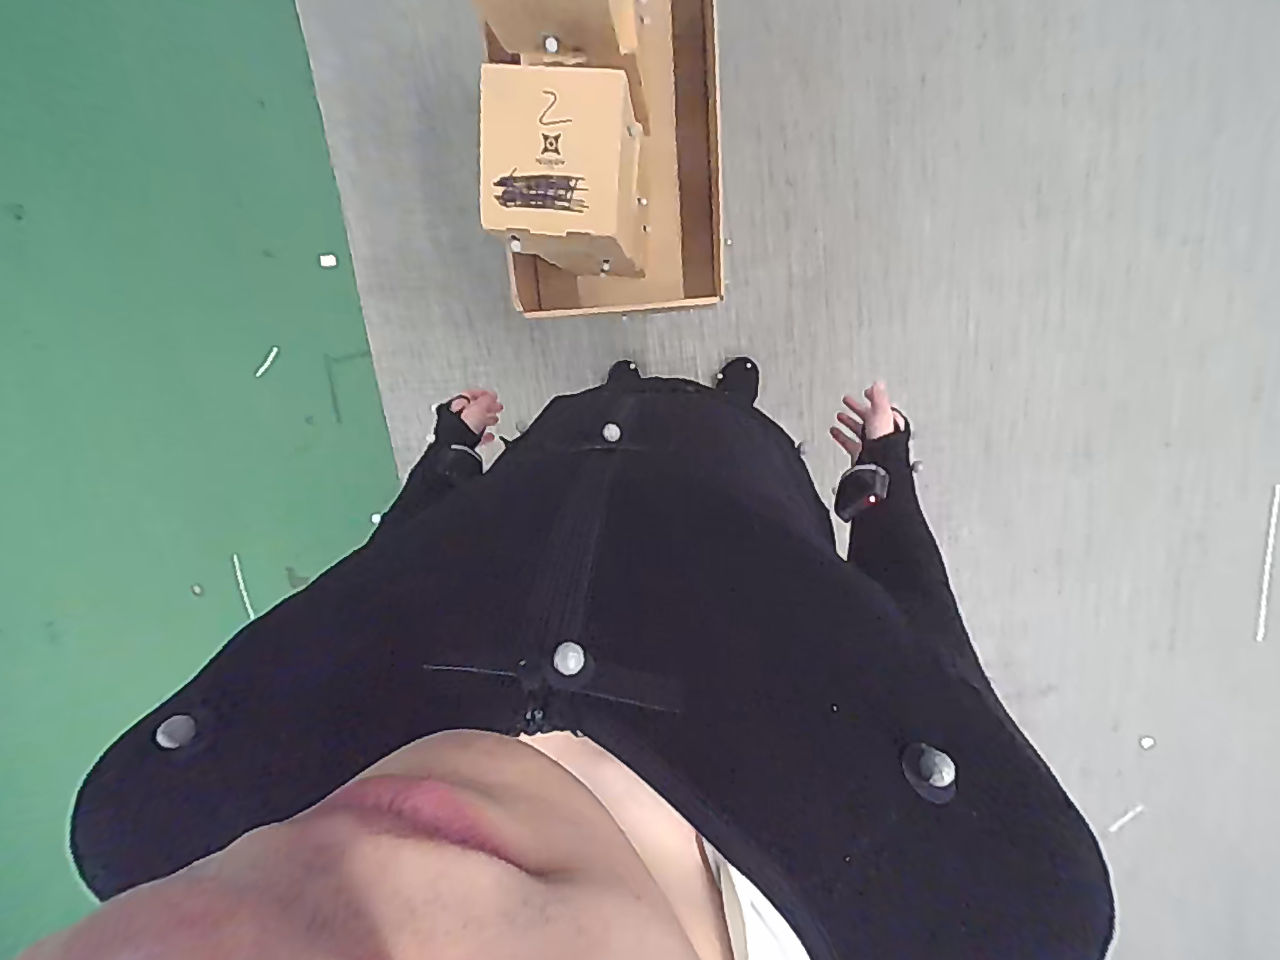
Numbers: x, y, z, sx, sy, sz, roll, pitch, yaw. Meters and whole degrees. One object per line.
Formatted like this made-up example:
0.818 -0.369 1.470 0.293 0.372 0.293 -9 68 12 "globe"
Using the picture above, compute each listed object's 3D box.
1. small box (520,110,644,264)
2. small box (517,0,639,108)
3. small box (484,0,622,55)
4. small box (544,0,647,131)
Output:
-0.085 -0.451 0.861 0.168 0.176 0.179 7 103 2 "small box"
-0.092 -0.693 0.804 0.168 0.176 0.179 -4 106 5 "small box"
-0.108 -0.654 0.646 0.168 0.176 0.179 5 107 3 "small box"
-0.080 -0.738 0.960 0.168 0.176 0.179 -4 105 6 "small box"
